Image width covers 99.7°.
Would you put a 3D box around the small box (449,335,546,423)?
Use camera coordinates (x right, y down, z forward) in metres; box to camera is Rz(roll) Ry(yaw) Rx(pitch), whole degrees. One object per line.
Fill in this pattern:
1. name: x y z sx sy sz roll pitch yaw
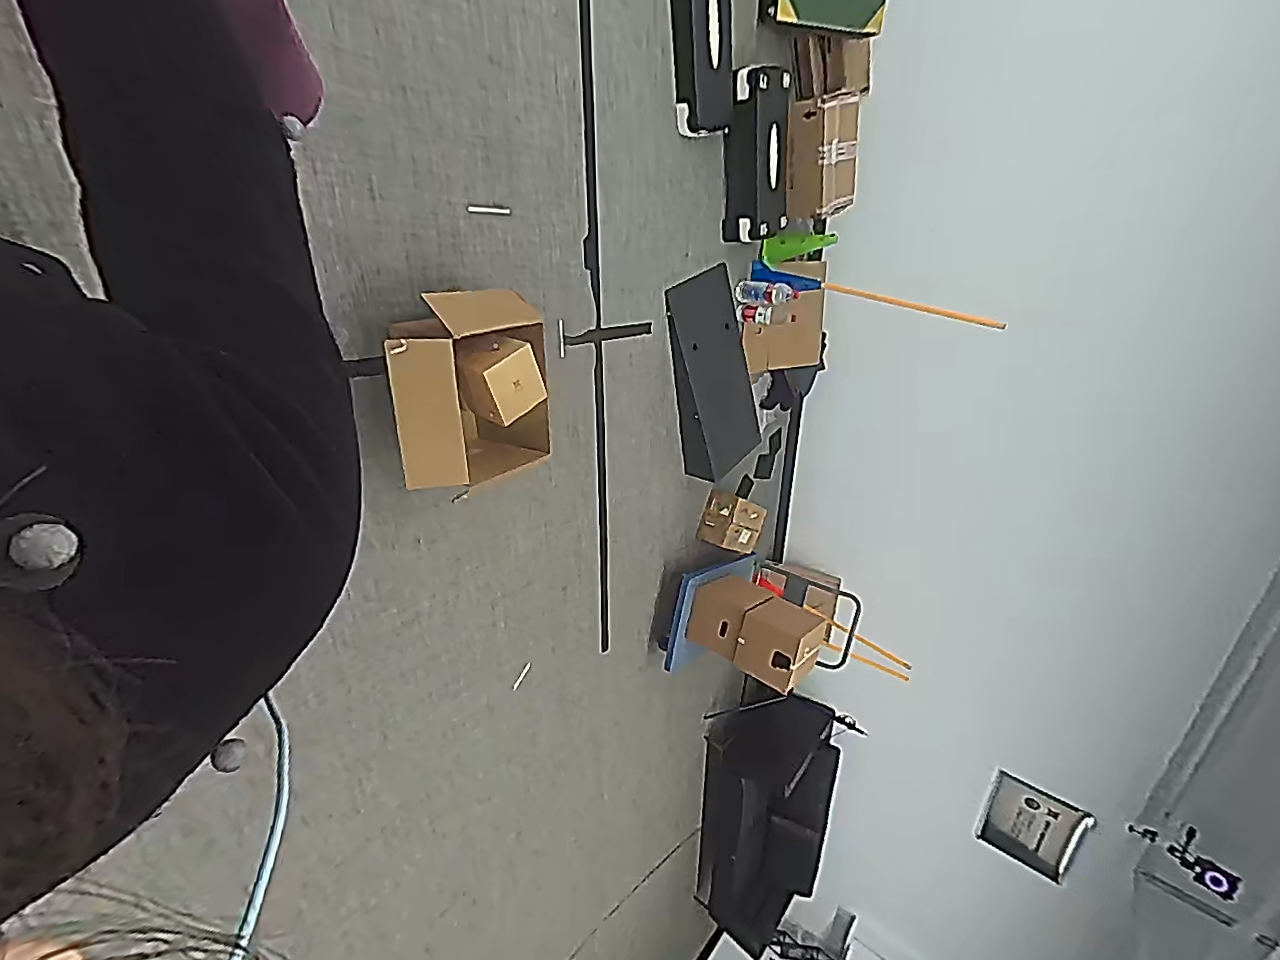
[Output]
1. small box: -0.399 -0.289 1.510 0.168 0.176 0.179 -44 140 -29
